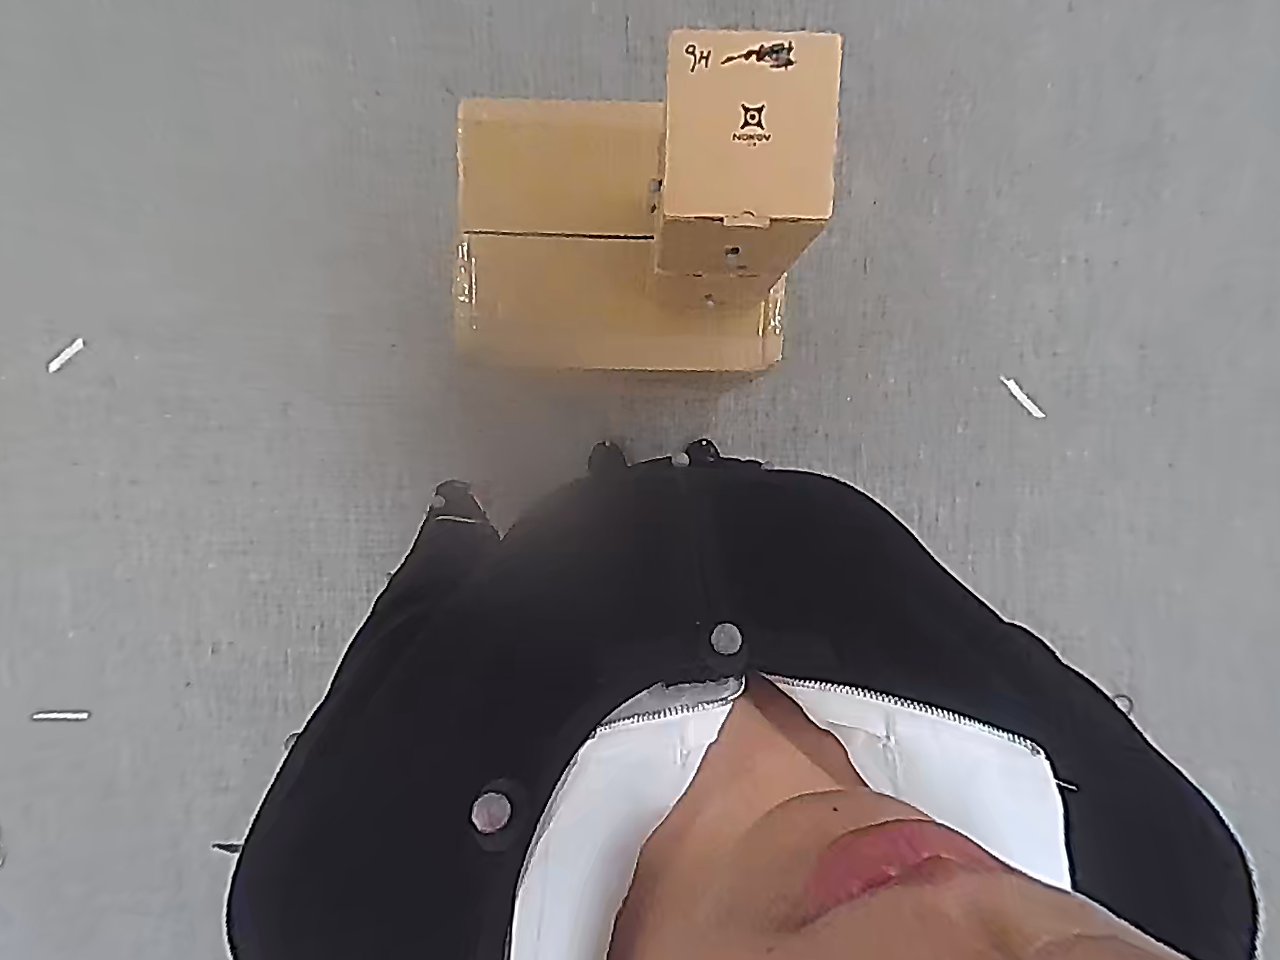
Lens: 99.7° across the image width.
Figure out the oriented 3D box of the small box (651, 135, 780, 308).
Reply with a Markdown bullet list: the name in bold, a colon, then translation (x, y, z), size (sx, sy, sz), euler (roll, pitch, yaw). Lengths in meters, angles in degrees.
- **small box**: translation (0.100, -0.354, 0.766), size (0.168, 0.176, 0.179), euler (0, 95, 1)

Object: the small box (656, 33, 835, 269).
- **small box**: translation (0.103, -0.346, 0.603), size (0.168, 0.176, 0.179), euler (2, 95, 1)
